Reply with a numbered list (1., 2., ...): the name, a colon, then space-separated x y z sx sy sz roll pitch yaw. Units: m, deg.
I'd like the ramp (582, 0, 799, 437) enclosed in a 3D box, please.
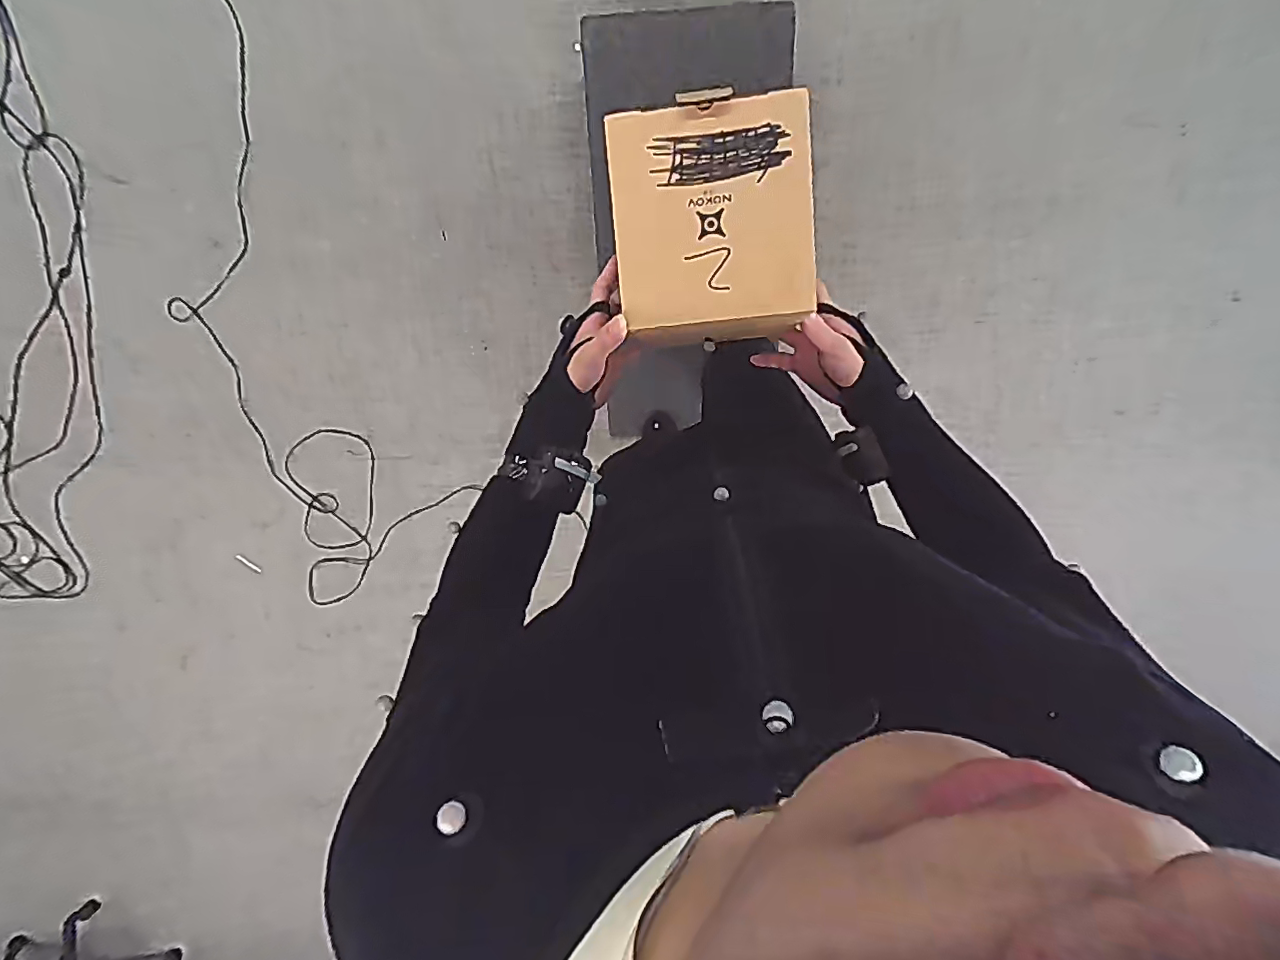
1. ramp: 0.138 -0.597 1.397 0.509 0.206 0.991 -4 102 2
